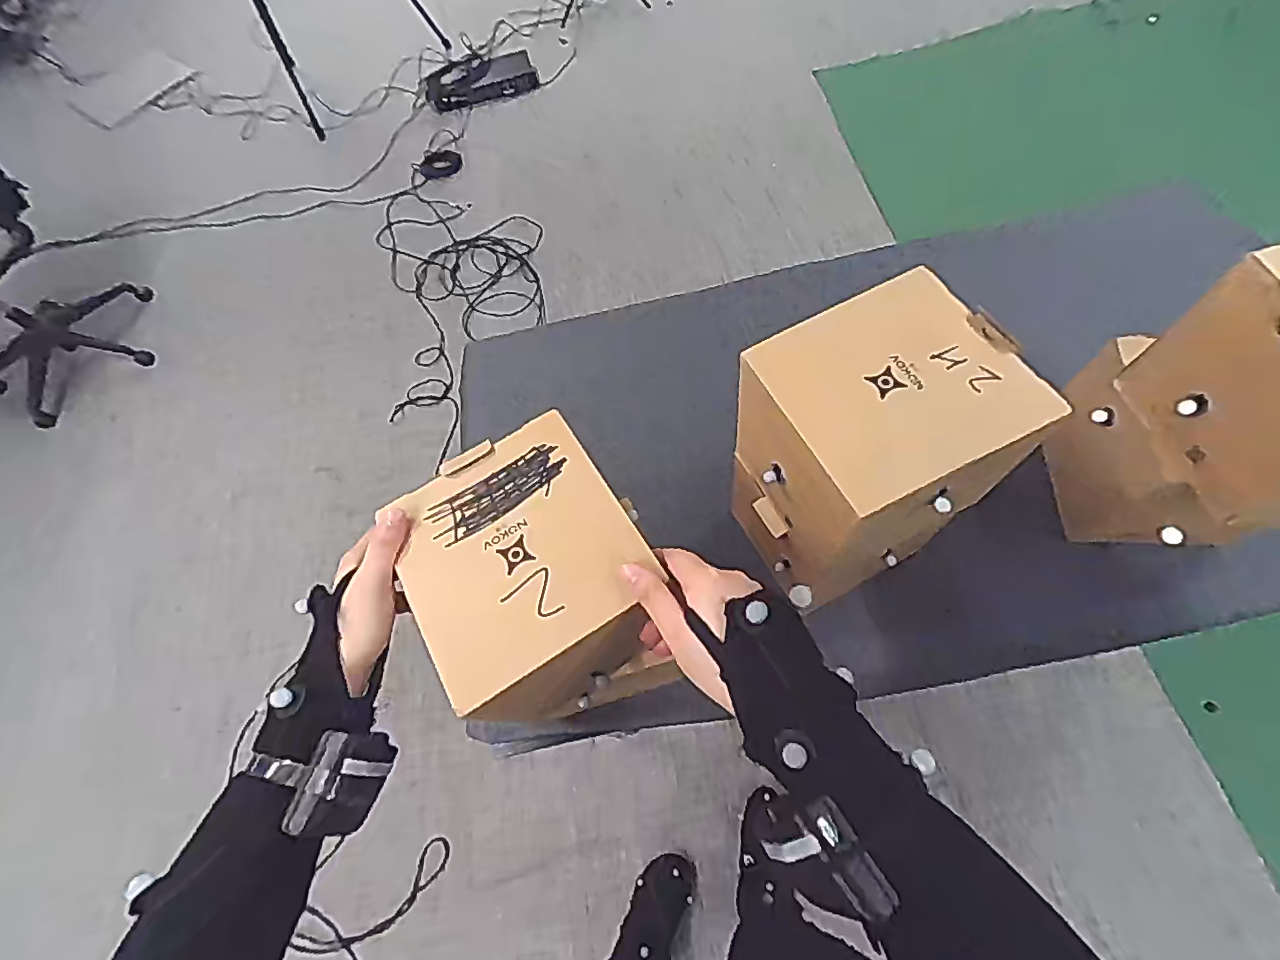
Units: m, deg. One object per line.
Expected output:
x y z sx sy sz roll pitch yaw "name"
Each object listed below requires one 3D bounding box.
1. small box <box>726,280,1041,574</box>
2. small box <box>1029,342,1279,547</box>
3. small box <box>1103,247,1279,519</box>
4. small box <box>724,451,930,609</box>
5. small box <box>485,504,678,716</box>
0.193 -0.036 0.490 0.179 0.176 0.168 -26 64 -5 "small box"
0.581 -0.036 0.612 0.168 0.176 0.179 0 65 10 "small box"
0.565 -0.085 0.456 0.179 0.176 0.168 -15 63 2 "small box"
0.215 0.032 0.639 0.179 0.176 0.168 -28 64 -6 "small box"
-0.061 0.156 0.621 0.168 0.176 0.179 -18 63 0 "small box"
